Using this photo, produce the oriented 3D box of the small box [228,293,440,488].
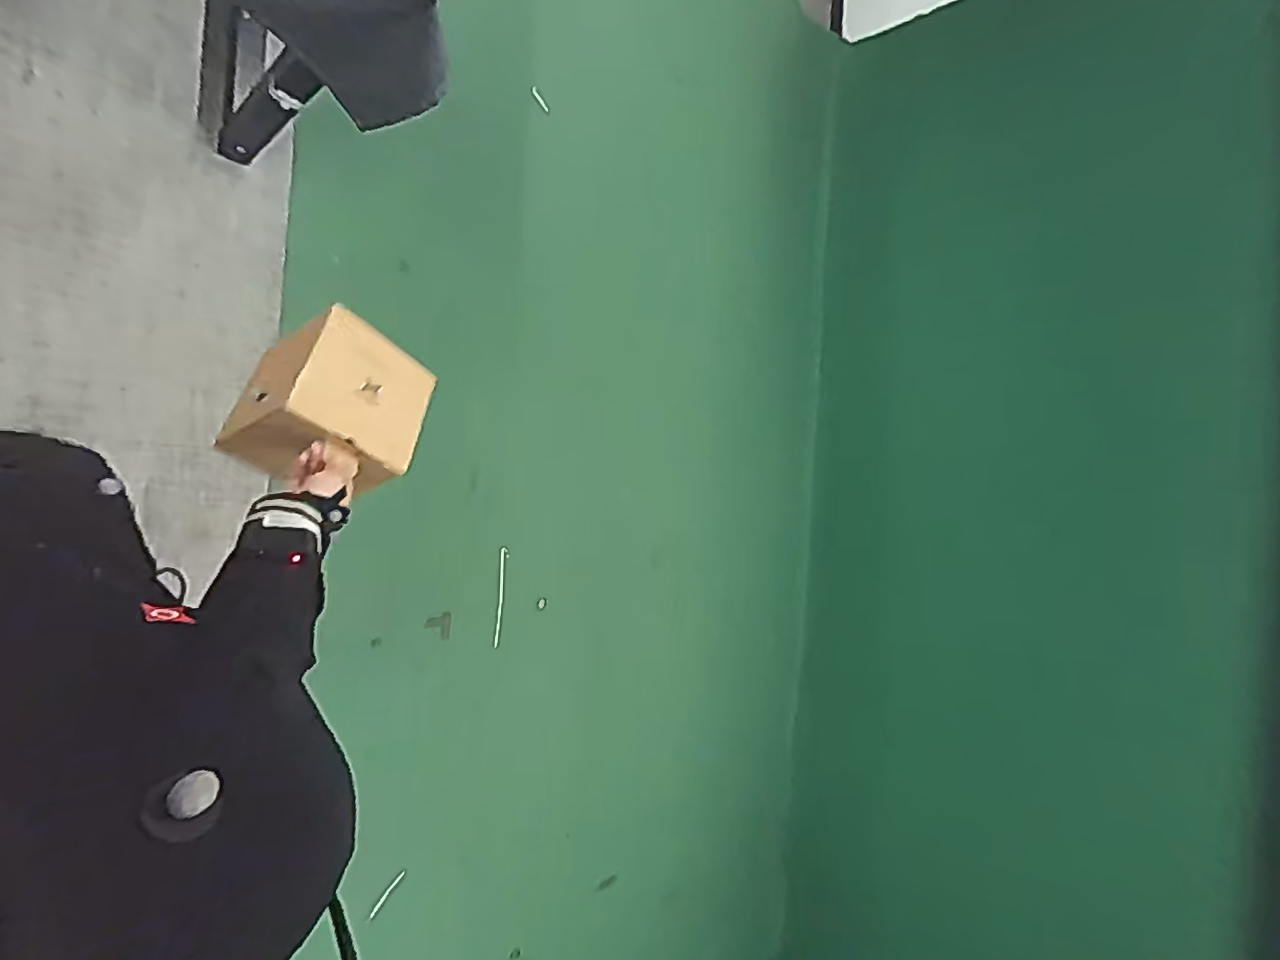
[{"bbox_3d":[-0.410,-0.109,0.734,0.168,0.176,0.179,44,40,-47],"label":"small box"}]
